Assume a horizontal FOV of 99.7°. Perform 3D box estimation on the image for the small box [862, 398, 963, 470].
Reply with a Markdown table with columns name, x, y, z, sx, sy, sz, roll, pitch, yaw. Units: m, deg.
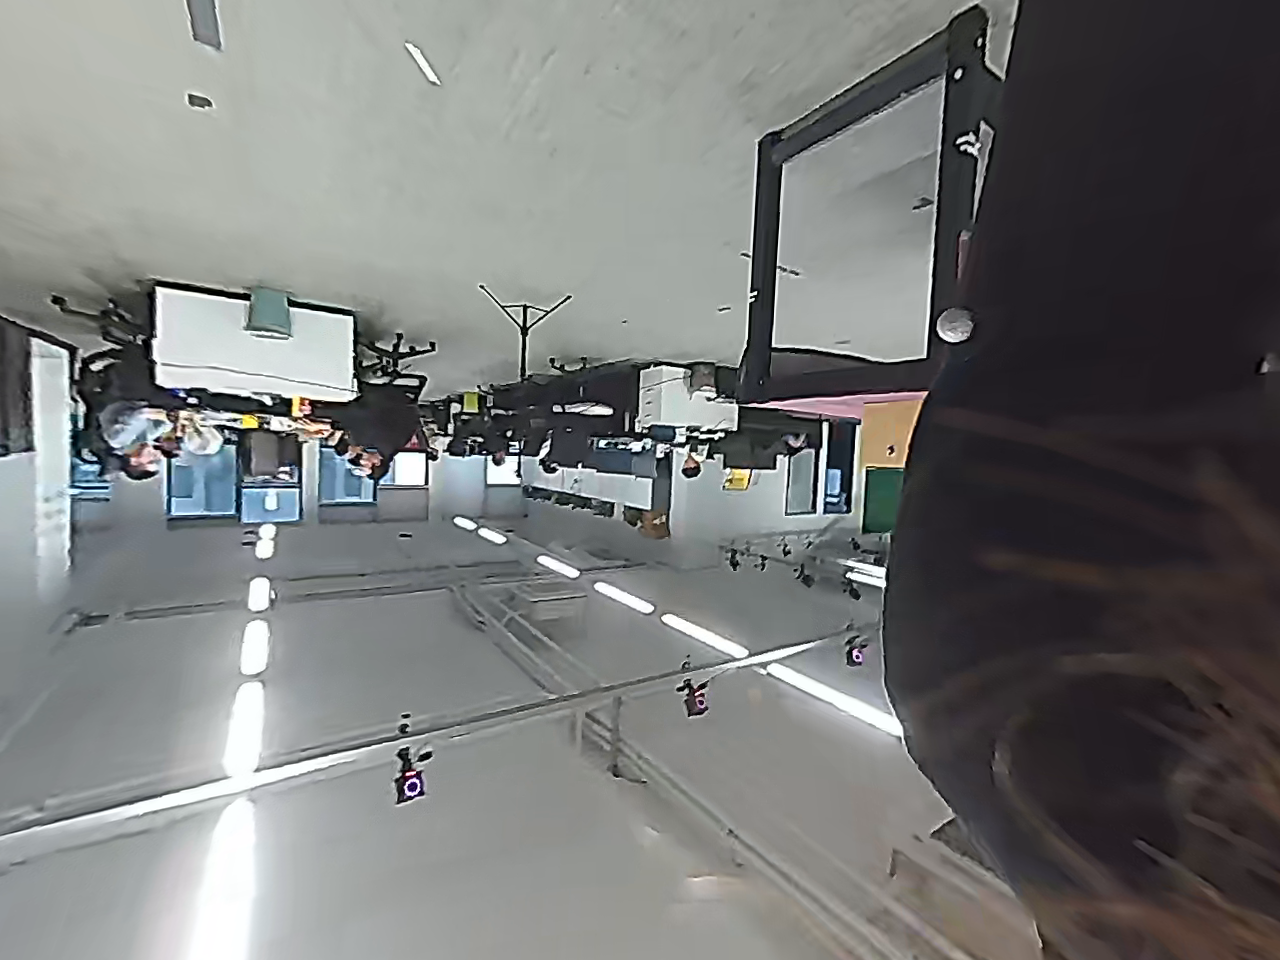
| name | x | y | z | sx | sy | sz | roll | pitch | yaw |
| --- | --- | --- | --- | --- | --- | --- | --- | --- | --- |
| small box | 0.686 | -0.114 | 1.365 | 0.168 | 0.176 | 0.179 | 1 | -176 | -27 |
